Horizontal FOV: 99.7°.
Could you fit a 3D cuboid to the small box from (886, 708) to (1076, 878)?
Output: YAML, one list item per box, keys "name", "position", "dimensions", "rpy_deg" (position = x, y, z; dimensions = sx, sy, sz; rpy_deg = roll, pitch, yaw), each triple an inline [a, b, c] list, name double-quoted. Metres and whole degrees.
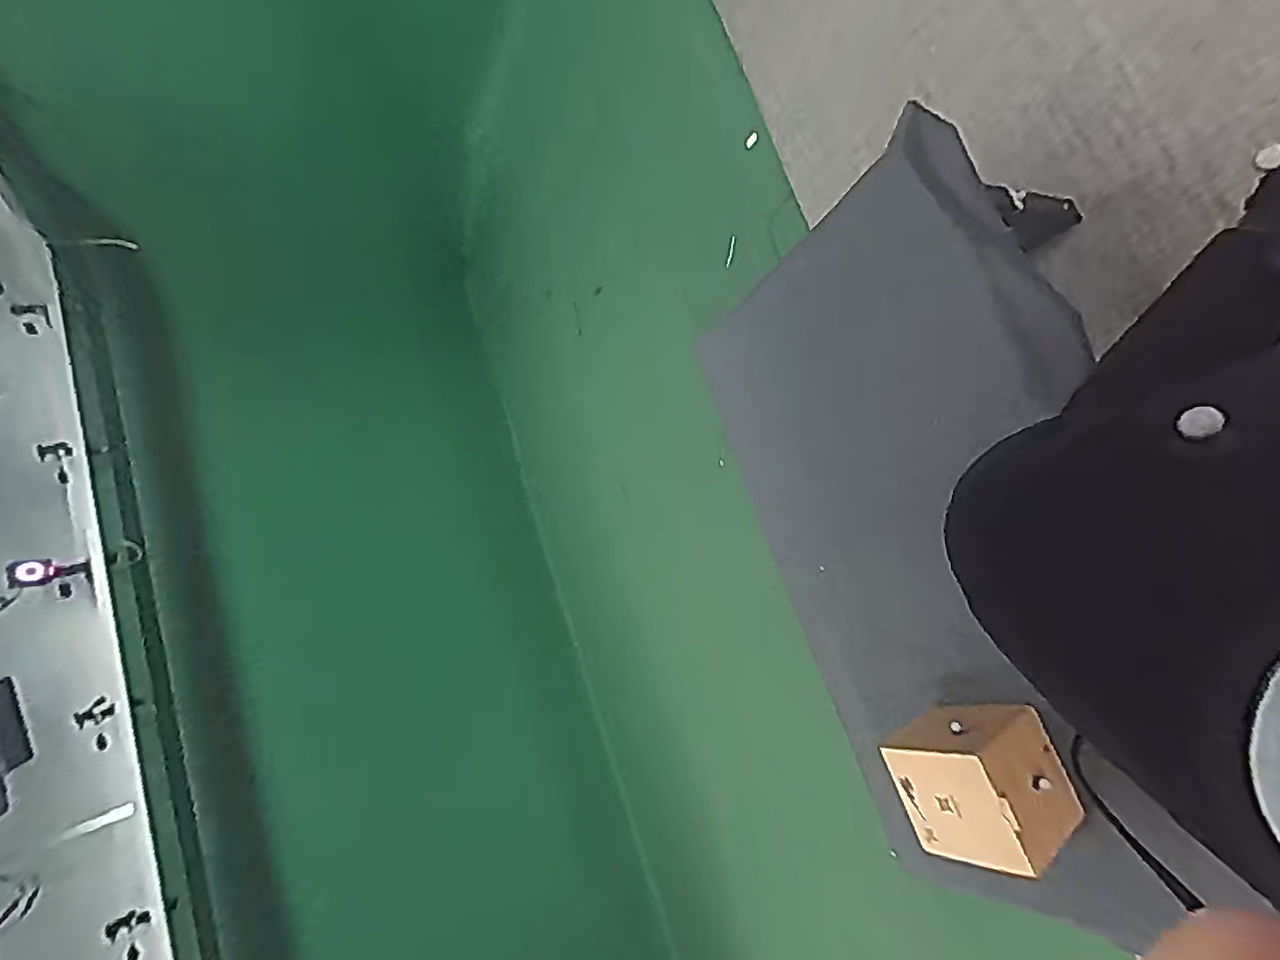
- name: "small box"
  position: [0.534, 0.470, 0.844]
  dimensions: [0.179, 0.176, 0.168]
  rpy_deg: [-39, 68, 55]
